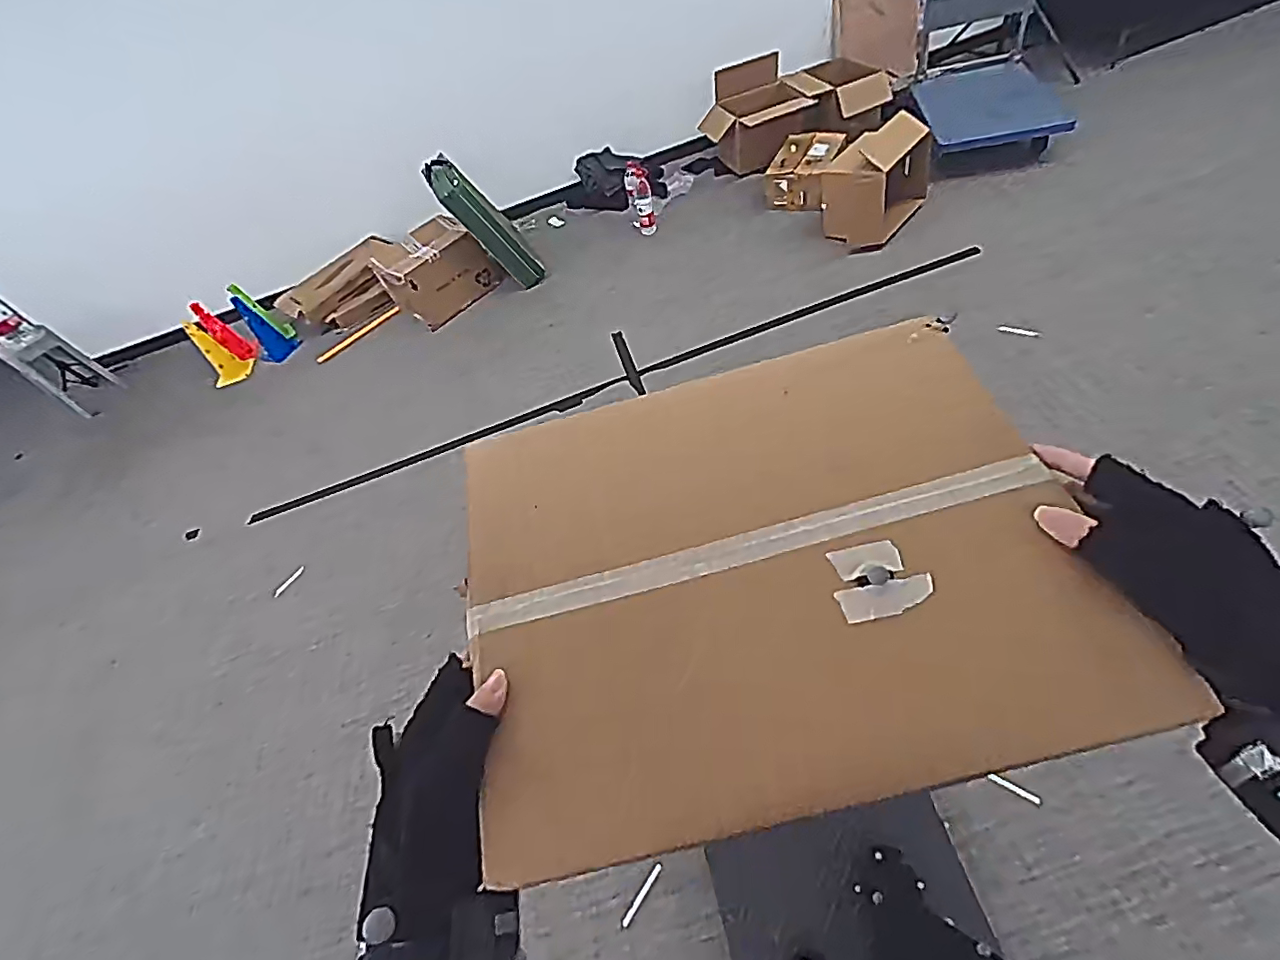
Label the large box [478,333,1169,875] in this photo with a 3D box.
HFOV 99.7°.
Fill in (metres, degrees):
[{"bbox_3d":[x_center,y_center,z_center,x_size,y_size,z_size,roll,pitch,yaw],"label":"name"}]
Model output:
[{"bbox_3d":[0.104,0.127,0.514,0.408,0.320,0.320,-16,59,2],"label":"large box"}]
